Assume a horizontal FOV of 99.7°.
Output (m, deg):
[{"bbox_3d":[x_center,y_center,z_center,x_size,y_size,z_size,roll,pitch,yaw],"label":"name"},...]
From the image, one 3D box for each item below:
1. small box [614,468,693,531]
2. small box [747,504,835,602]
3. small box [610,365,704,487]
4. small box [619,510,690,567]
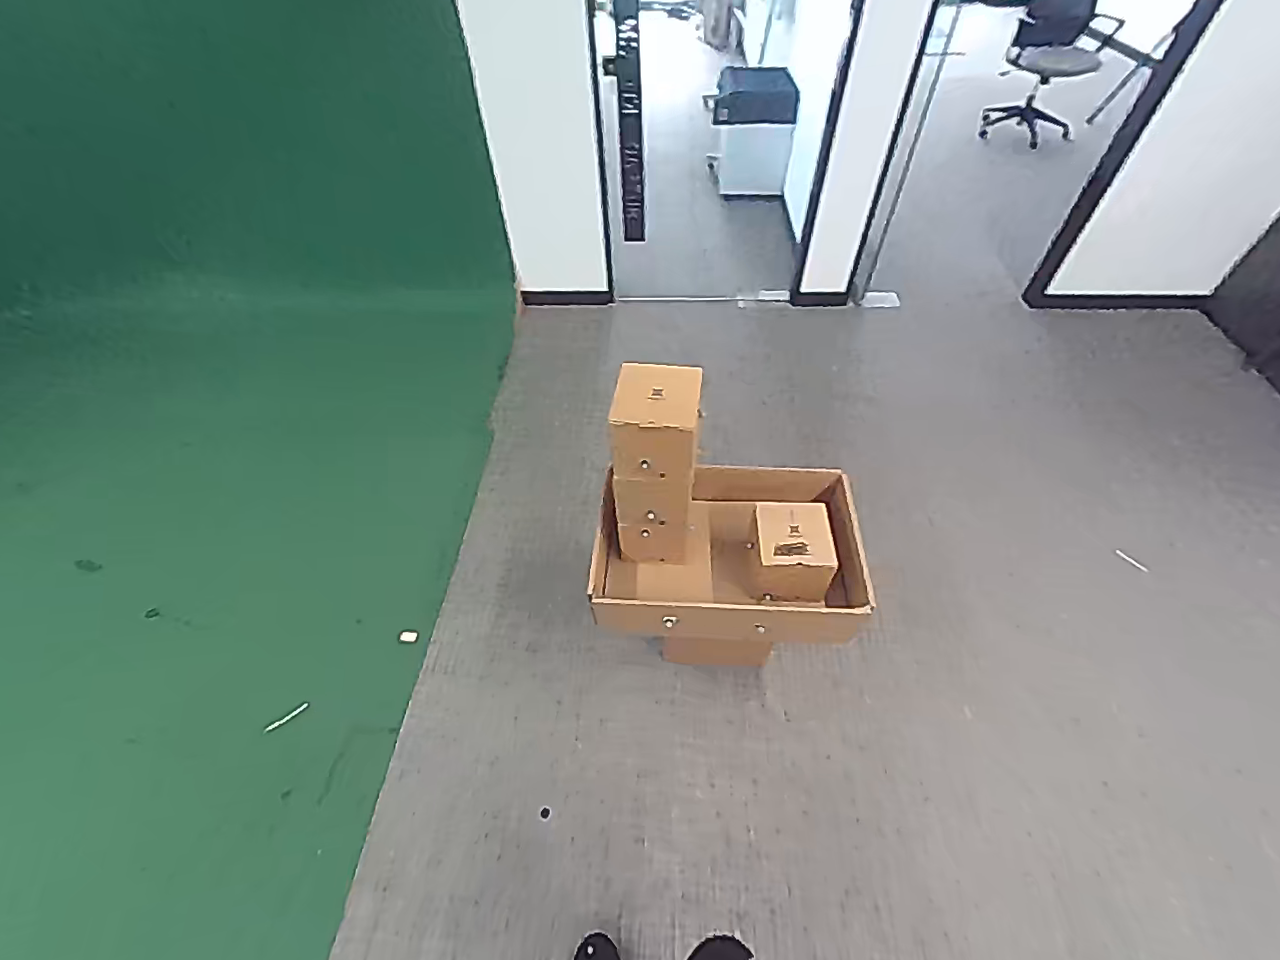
[{"bbox_3d":[0.037,-0.008,1.237,0.168,0.176,0.179,4,51,6],"label":"small box"},{"bbox_3d":[0.350,0.176,1.285,0.168,0.176,0.179,2,49,3],"label":"small box"},{"bbox_3d":[0.037,-0.111,1.112,0.168,0.176,0.179,6,51,6],"label":"small box"},{"bbox_3d":[0.040,0.097,1.363,0.168,0.176,0.179,3,51,4],"label":"small box"}]
